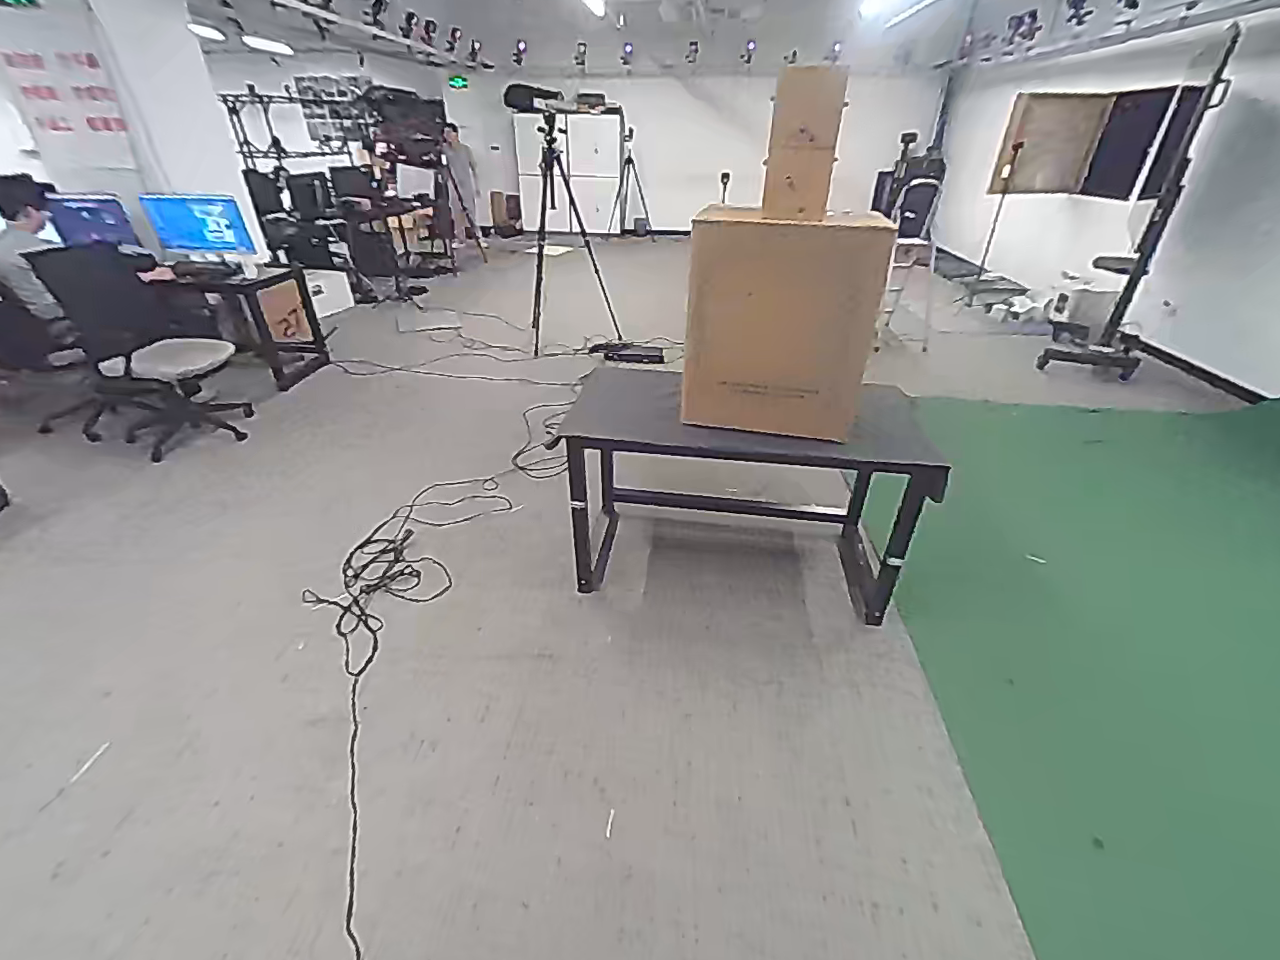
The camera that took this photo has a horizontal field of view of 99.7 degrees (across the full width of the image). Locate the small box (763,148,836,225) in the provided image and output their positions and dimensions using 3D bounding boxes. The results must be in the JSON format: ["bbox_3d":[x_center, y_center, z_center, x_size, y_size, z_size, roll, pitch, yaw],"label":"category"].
[{"bbox_3d":[0.430,-0.793,1.458,0.168,0.176,0.179,9,35,12],"label":"small box"}]
